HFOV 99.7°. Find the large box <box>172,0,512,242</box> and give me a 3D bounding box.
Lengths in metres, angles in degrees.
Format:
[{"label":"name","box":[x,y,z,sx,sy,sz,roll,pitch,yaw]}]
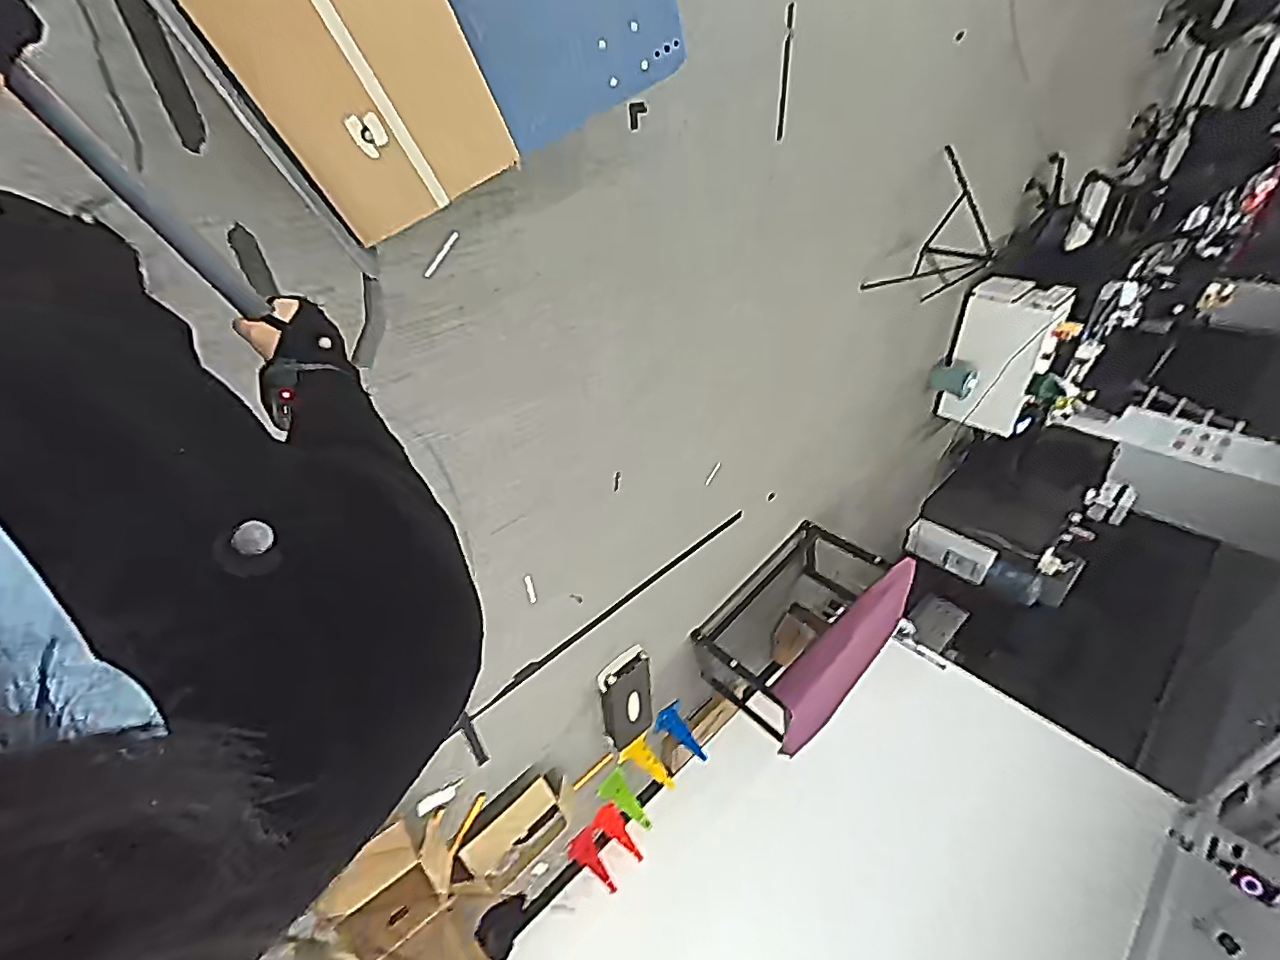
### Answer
[{"label":"large box","box":[-0.479,-0.695,0.896,0.320,0.320,0.408,-31,138,-3]}]
